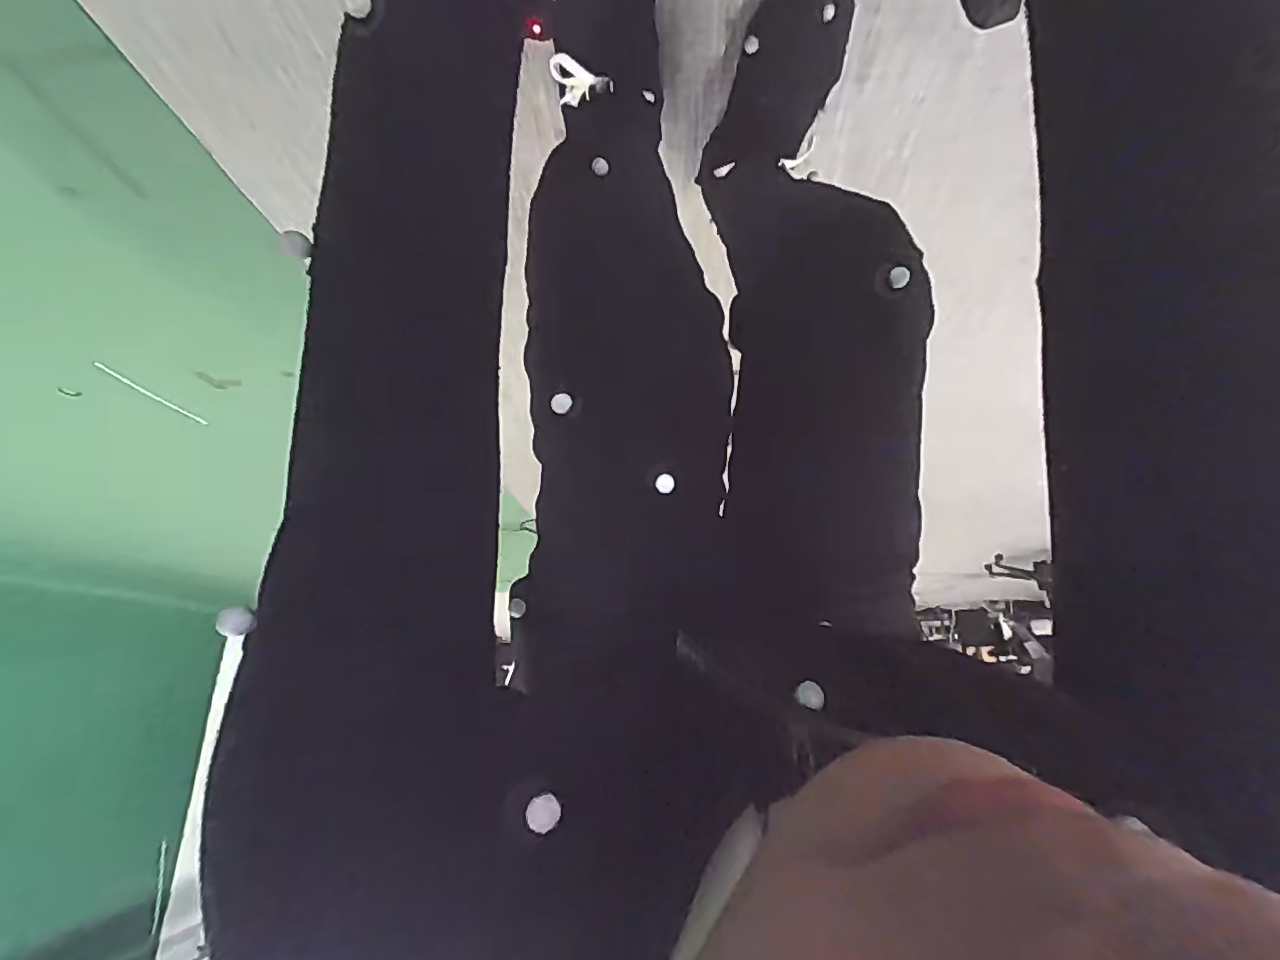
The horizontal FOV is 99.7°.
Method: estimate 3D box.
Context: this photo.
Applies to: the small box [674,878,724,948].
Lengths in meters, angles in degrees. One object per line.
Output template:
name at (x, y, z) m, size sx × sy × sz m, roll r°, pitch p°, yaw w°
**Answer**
small box at (0.224, 1.656, 2.078) m, size 0.179 × 0.176 × 0.168 m, roll -2°, pitch 160°, yaw 3°
